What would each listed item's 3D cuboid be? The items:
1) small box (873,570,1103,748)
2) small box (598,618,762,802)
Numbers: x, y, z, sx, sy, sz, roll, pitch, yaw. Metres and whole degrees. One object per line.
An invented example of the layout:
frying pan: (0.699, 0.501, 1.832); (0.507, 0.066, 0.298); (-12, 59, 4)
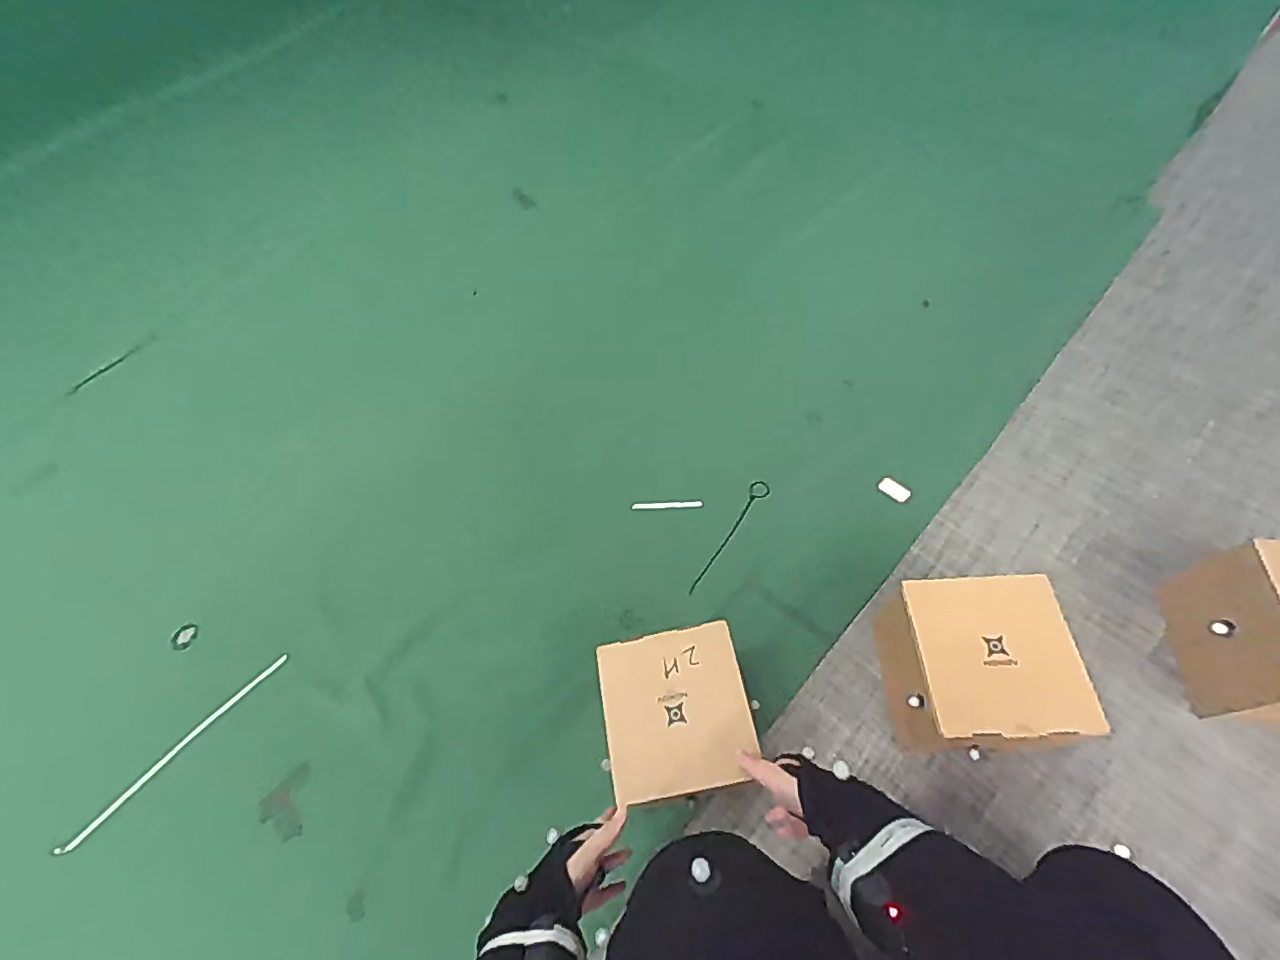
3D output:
small box: (0.407, 0.228, 0.676); (0.168, 0.176, 0.179); (-5, 58, 7)
small box: (0.051, 0.298, 0.690); (0.168, 0.176, 0.179); (-12, 57, 1)
